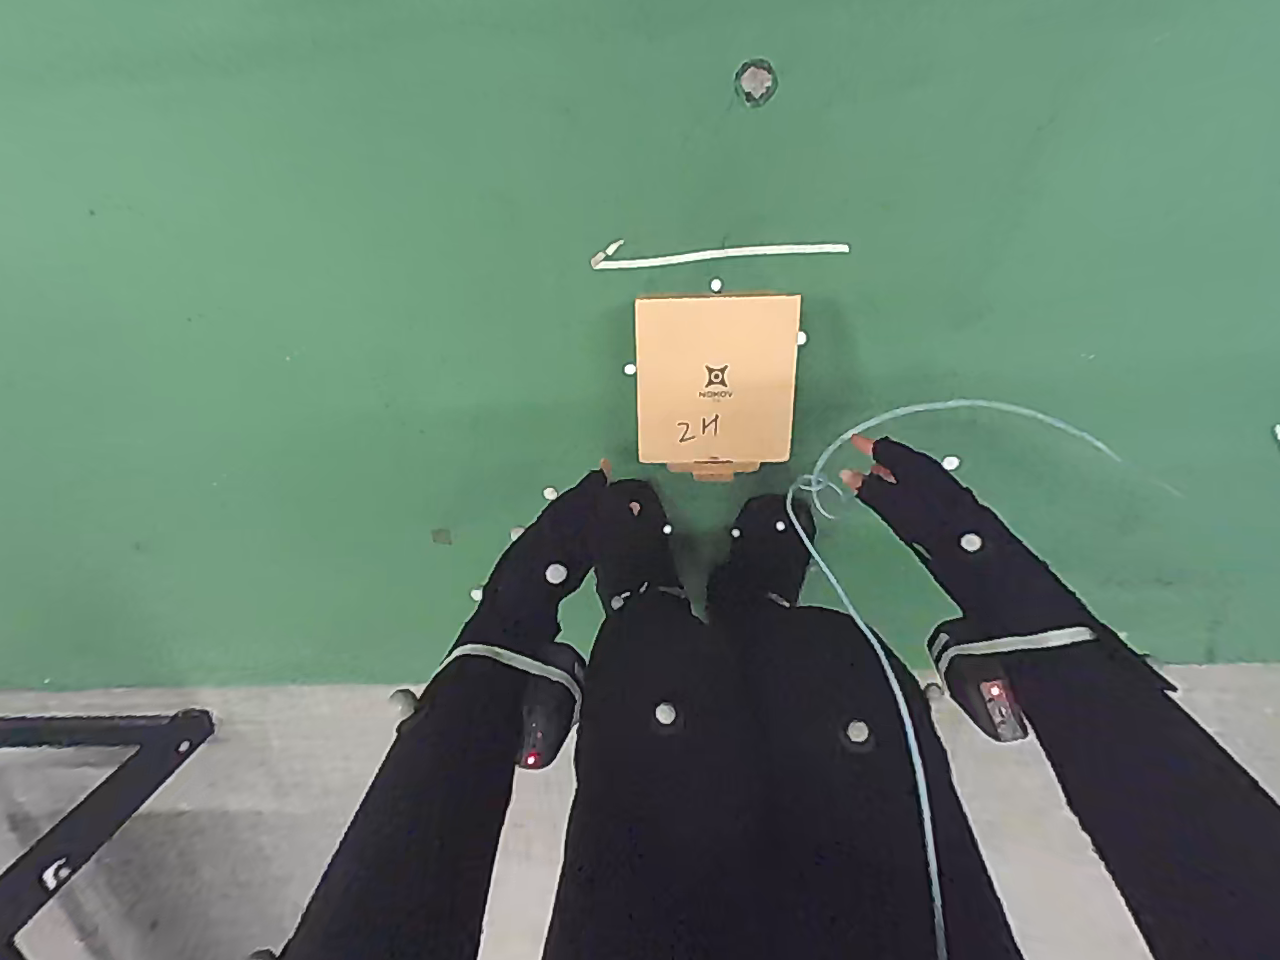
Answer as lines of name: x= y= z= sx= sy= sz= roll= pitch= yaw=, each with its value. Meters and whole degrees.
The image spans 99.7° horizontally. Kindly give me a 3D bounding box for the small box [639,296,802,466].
small box: x=0.083 y=-0.124 z=0.639 sx=0.168 sy=0.176 sz=0.179 roll=0 pitch=111 yaw=3
